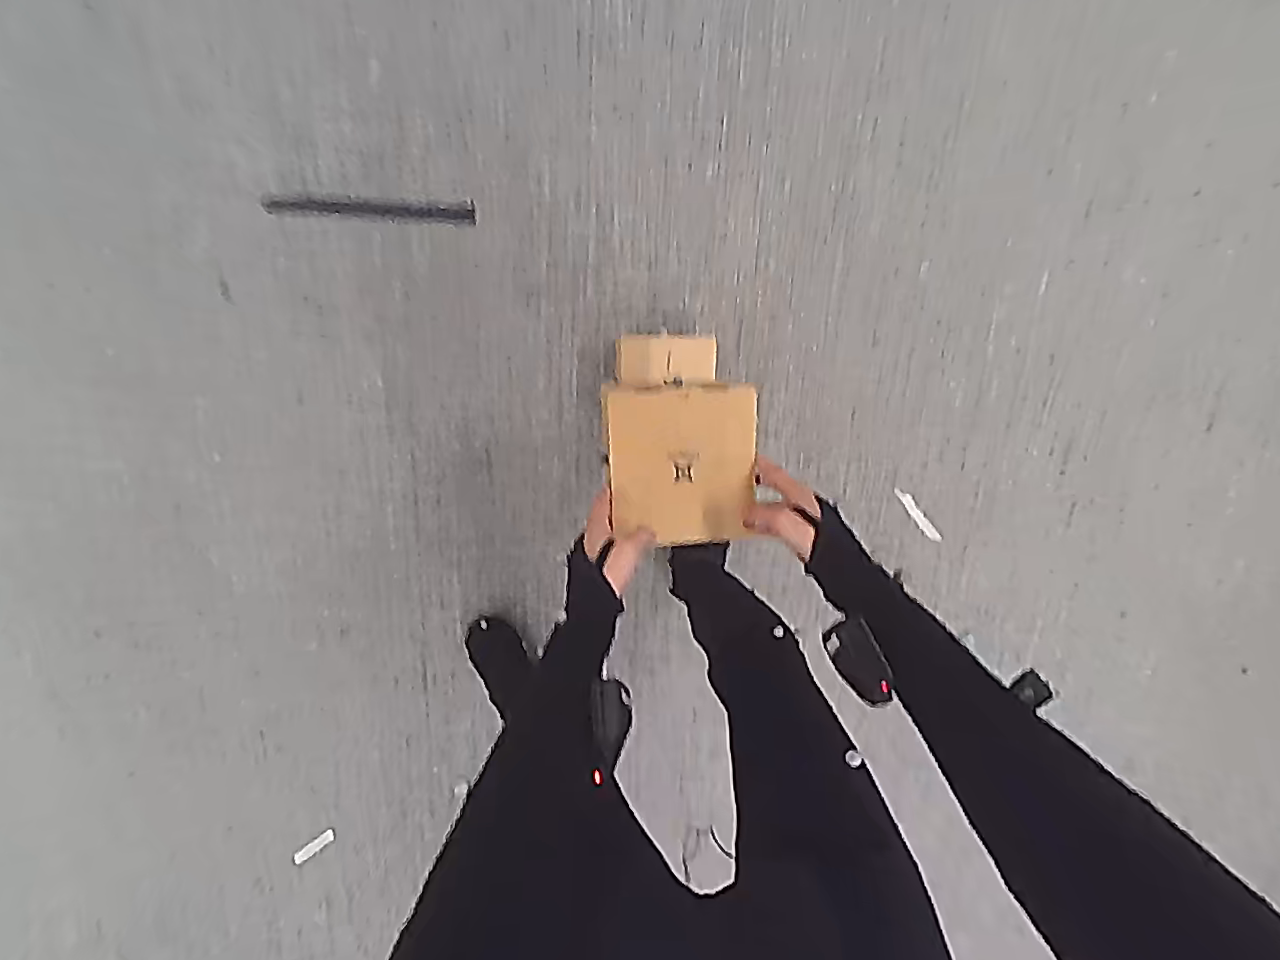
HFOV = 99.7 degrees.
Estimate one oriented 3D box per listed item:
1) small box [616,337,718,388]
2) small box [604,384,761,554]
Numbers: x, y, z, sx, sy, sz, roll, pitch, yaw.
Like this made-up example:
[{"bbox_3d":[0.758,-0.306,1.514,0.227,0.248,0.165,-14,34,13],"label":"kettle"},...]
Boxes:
[{"bbox_3d":[0.042,-0.171,0.995,0.168,0.176,0.179,-1,102,-6],"label":"small box"},{"bbox_3d":[0.042,-0.023,0.656,0.168,0.176,0.179,-3,101,-5],"label":"small box"}]
